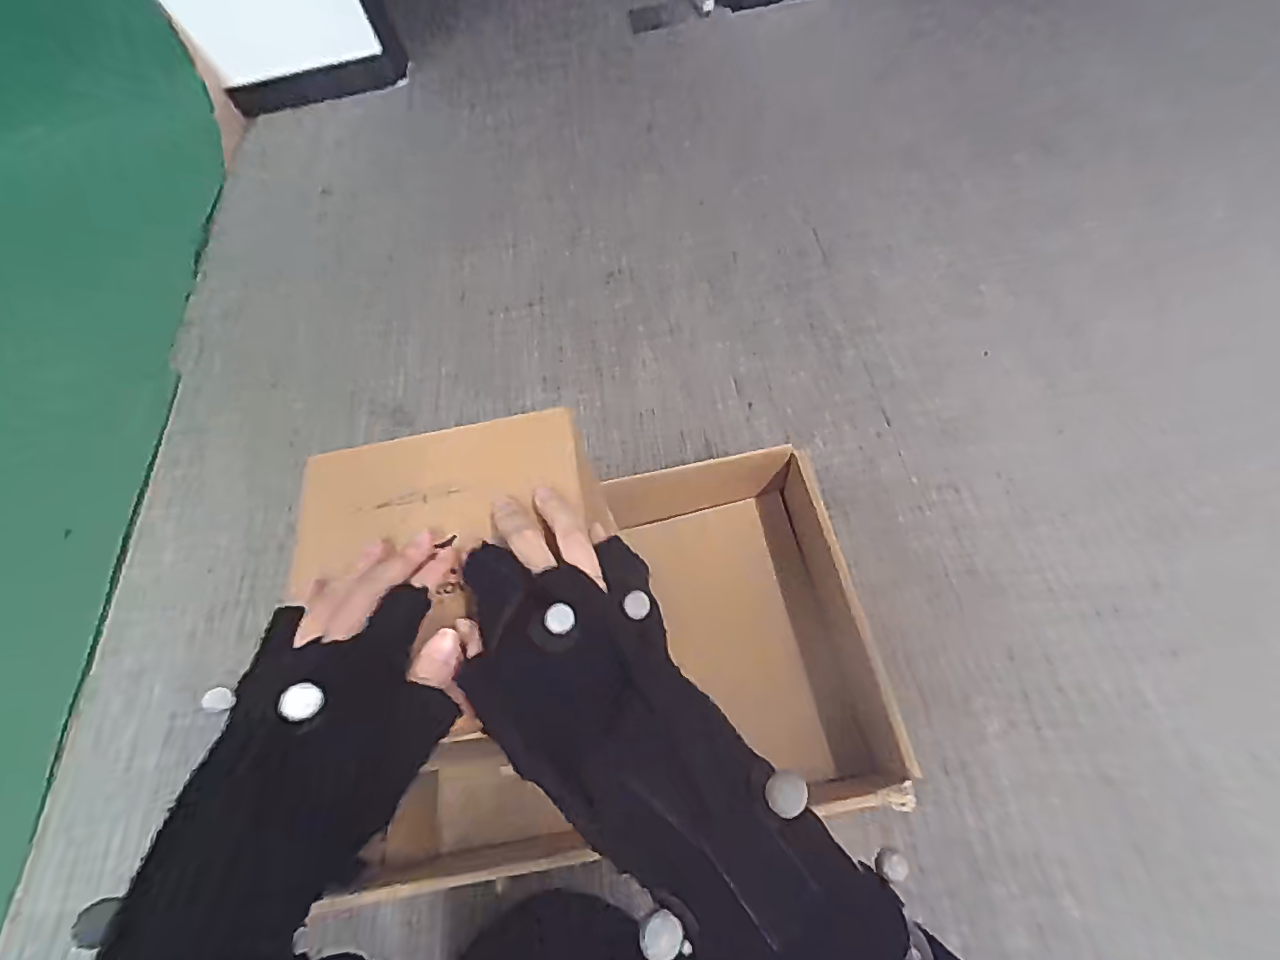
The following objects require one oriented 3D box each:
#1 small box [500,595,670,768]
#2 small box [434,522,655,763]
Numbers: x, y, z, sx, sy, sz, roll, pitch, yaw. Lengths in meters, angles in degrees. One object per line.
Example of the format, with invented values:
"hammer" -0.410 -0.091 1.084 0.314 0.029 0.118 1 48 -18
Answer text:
"small box" -0.059 0.253 0.665 0.179 0.176 0.168 -9 61 4
"small box" -0.086 0.166 0.533 0.168 0.176 0.179 -13 61 1
